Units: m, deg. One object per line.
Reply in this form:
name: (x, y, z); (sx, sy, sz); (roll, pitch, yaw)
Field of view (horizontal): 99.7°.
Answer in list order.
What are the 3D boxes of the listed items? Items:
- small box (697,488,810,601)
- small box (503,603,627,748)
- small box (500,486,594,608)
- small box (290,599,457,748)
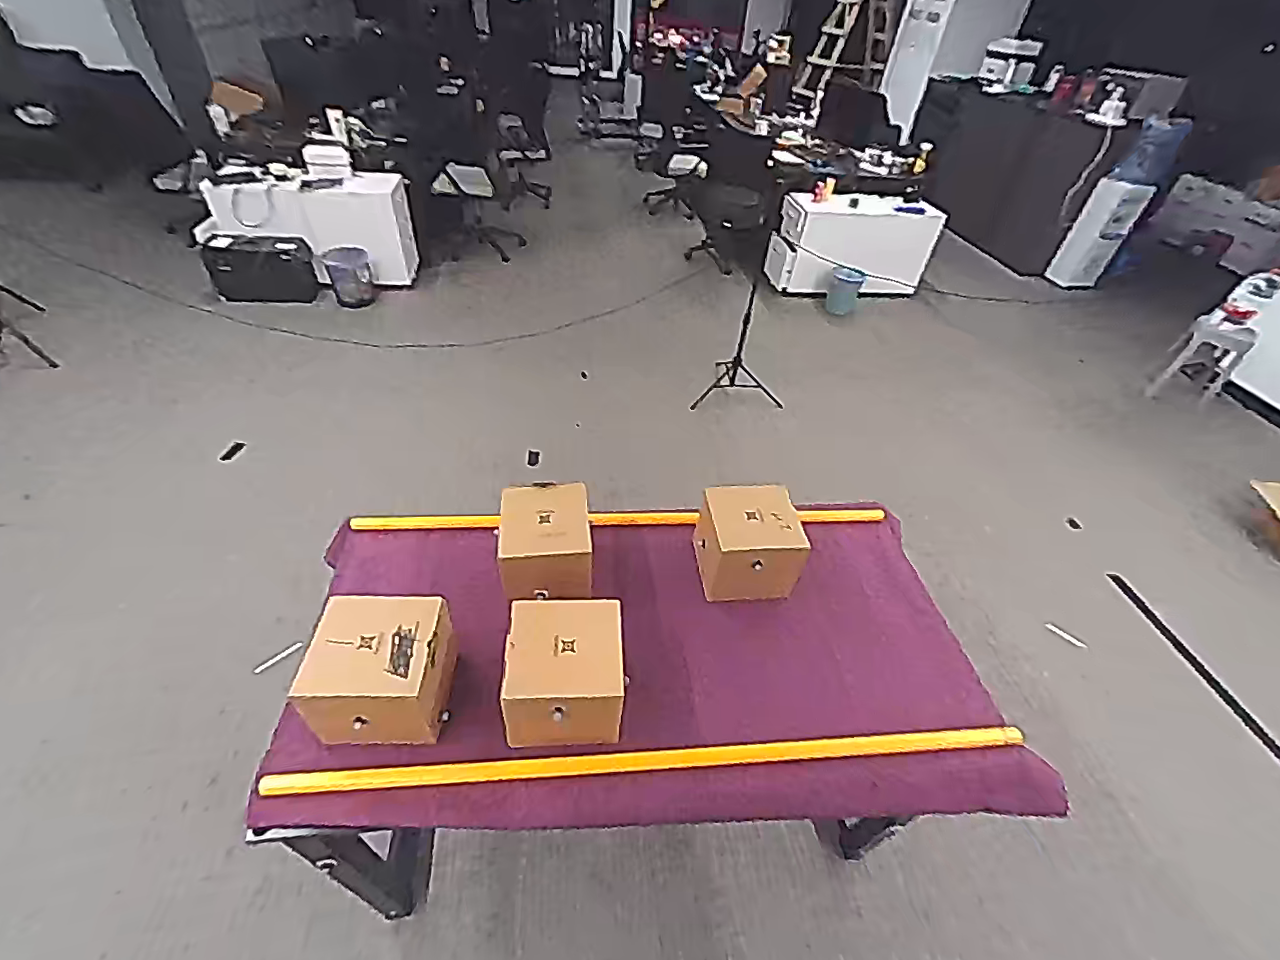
small box: (0.219, 0.134, 1.104); (0.179, 0.176, 0.168); (-1, 45, -7)
small box: (-0.116, 0.316, 0.873); (0.179, 0.176, 0.168); (0, 43, -5)
small box: (-0.181, 0.134, 1.062); (0.168, 0.176, 0.179); (-3, 44, -9)
small box: (-0.398, 0.305, 0.849); (0.179, 0.176, 0.168); (2, 43, -4)
